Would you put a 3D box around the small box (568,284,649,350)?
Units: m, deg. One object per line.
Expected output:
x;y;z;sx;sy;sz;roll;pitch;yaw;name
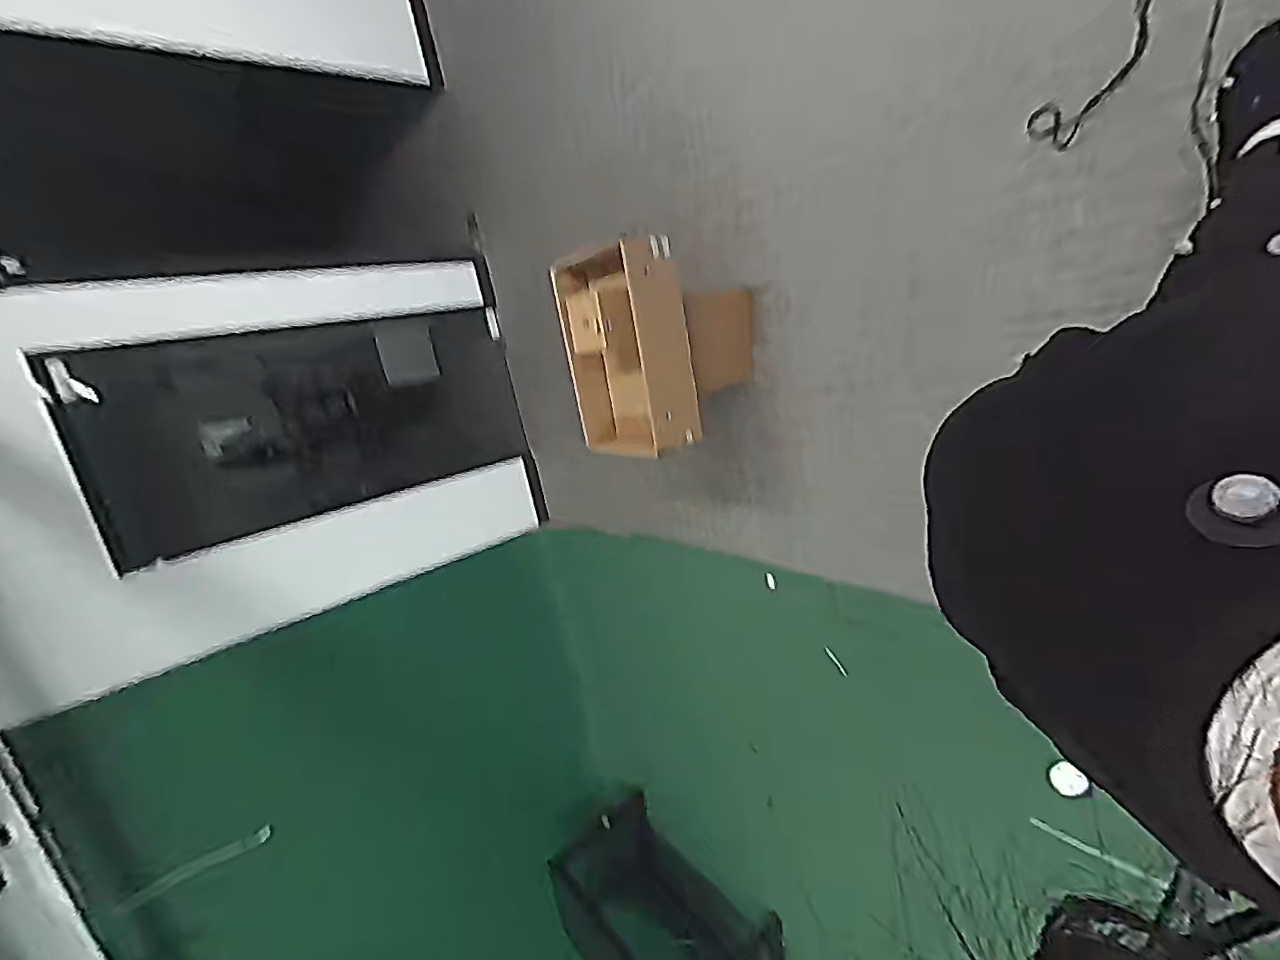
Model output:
-0.097;-0.501;1.668;0.179;0.176;0.168;12;117;51;small box
